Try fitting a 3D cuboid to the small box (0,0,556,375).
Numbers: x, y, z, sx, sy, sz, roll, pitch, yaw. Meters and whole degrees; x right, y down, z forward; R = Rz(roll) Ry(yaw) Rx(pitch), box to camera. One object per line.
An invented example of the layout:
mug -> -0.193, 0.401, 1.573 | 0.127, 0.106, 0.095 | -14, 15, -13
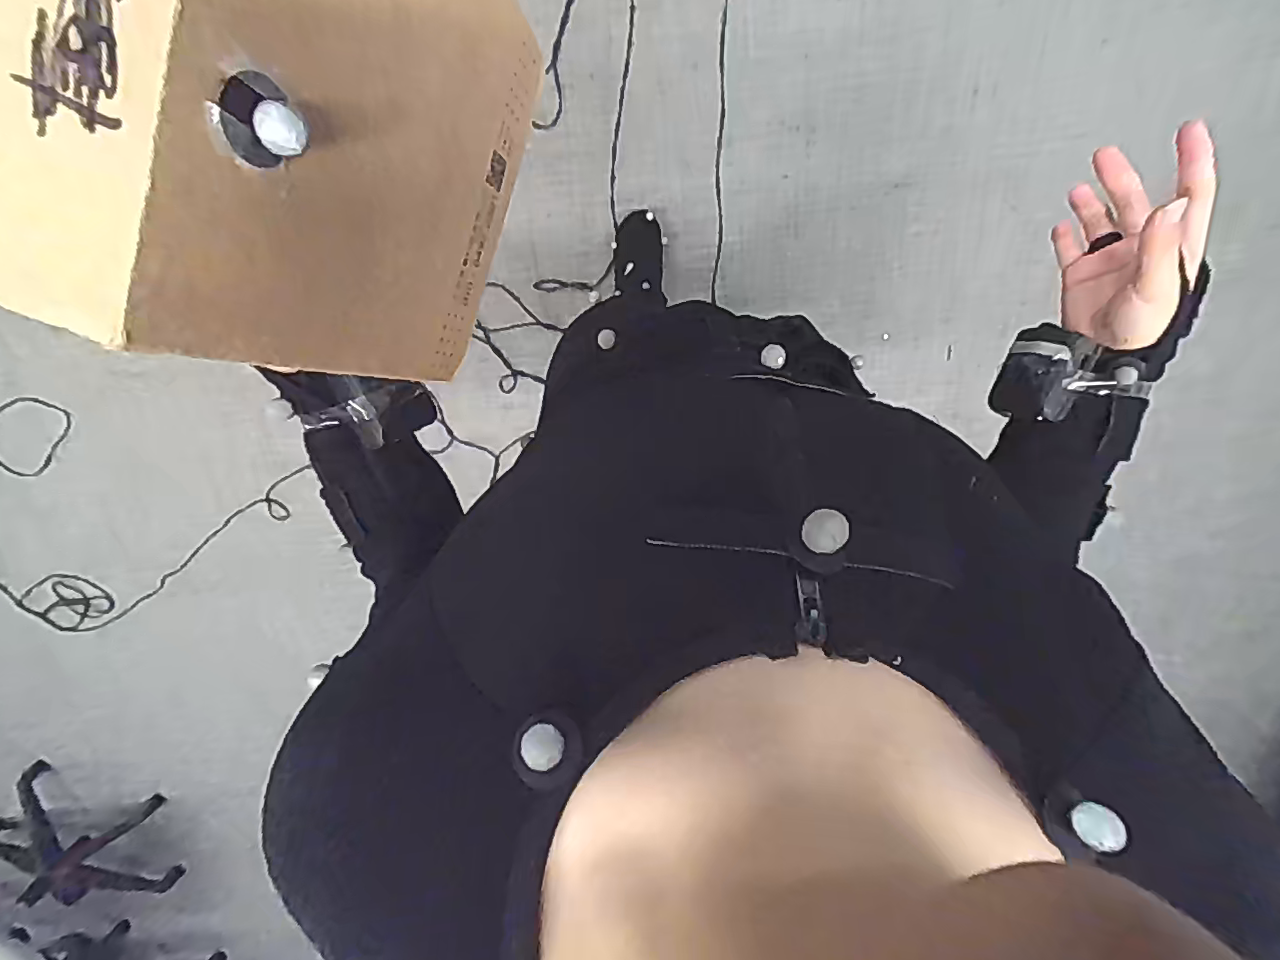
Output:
small box -> -0.158, -0.146, 0.214 | 0.179, 0.176, 0.168 | 20, 100, 6
